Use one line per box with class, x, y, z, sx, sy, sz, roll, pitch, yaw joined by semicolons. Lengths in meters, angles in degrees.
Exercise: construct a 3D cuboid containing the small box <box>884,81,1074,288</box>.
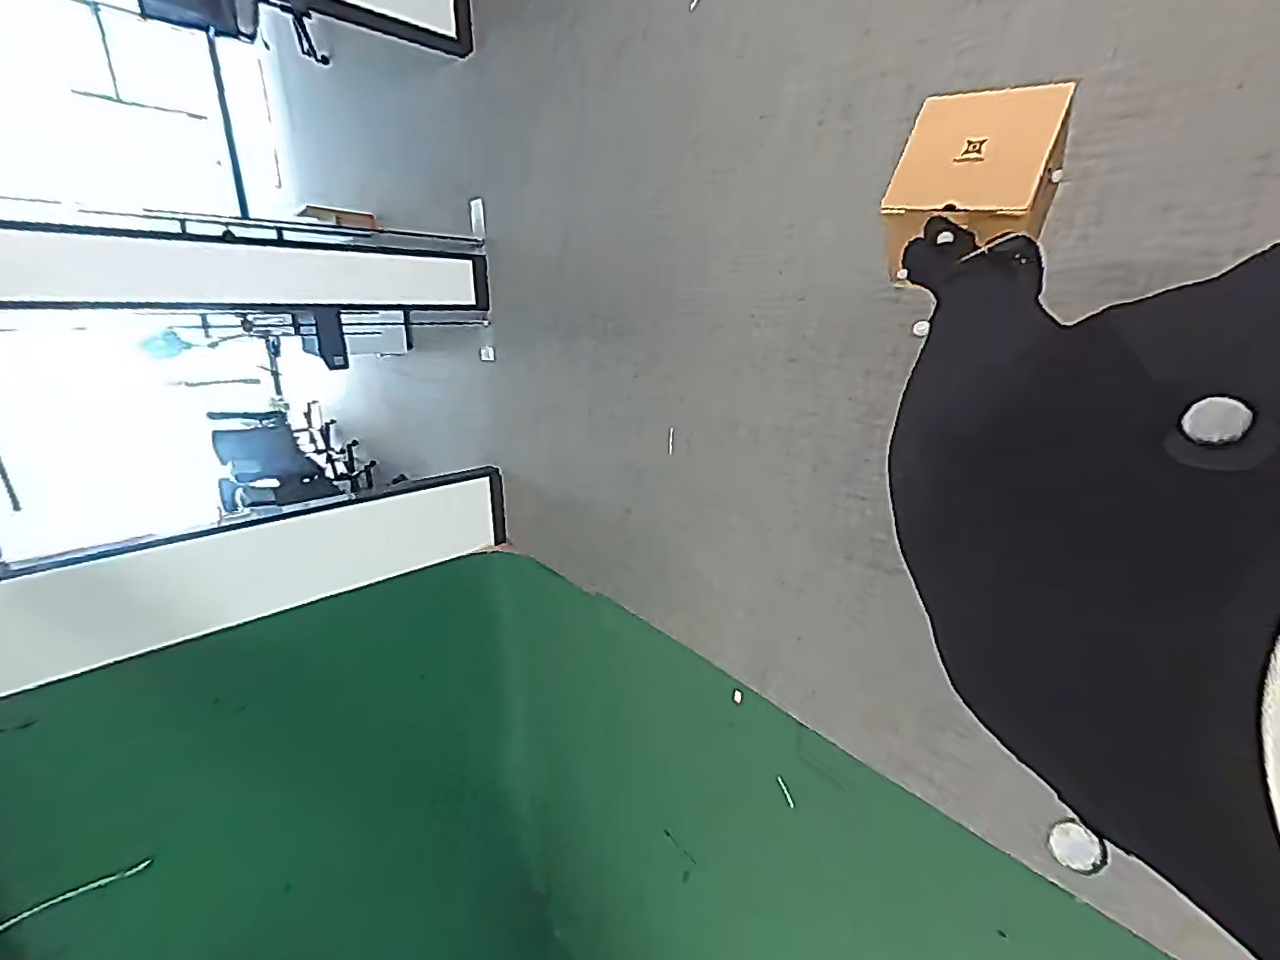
small box;0.454;-0.392;0.741;0.168;0.176;0.179;19;84;34
